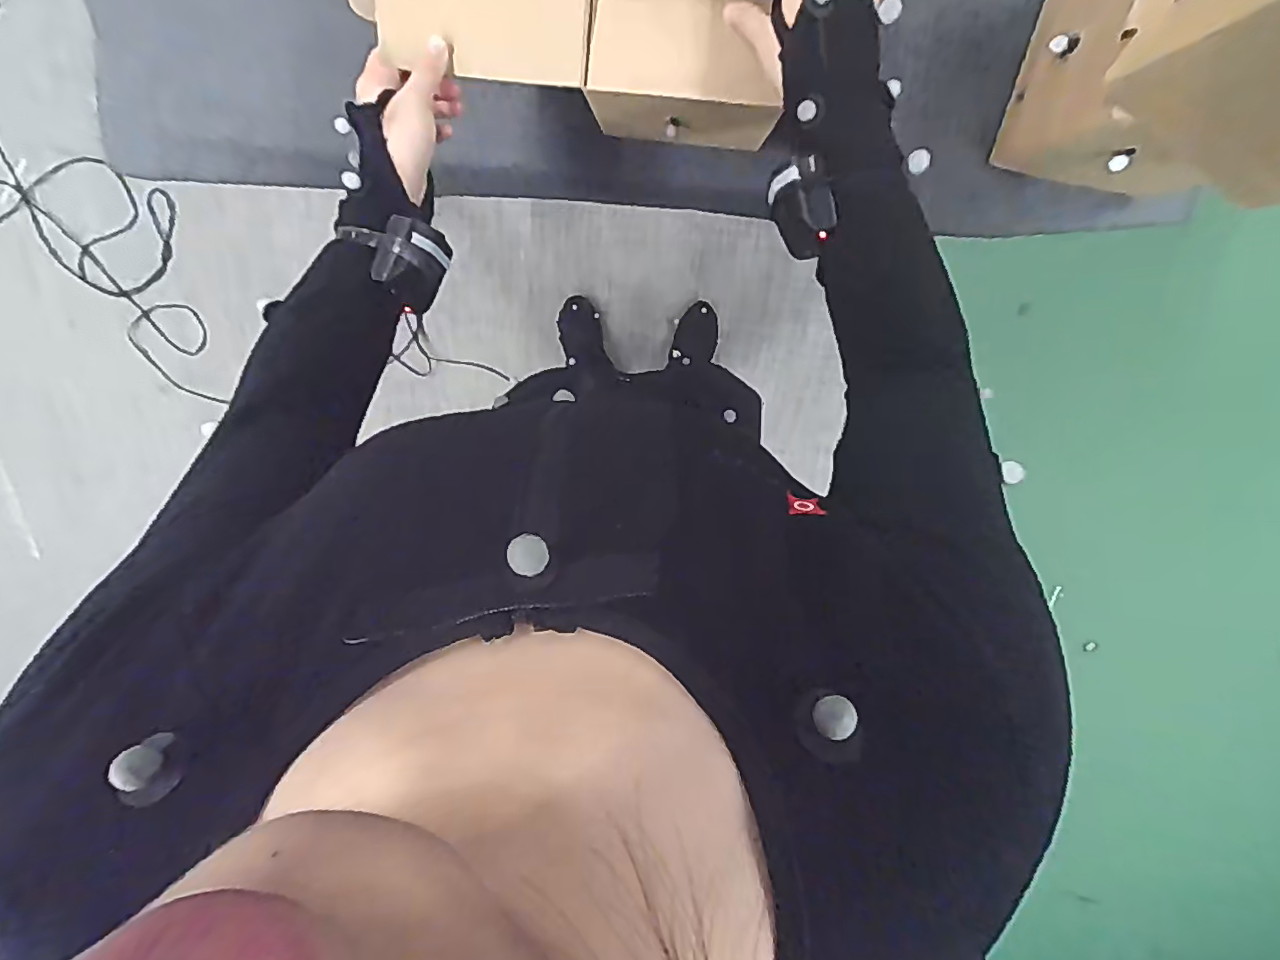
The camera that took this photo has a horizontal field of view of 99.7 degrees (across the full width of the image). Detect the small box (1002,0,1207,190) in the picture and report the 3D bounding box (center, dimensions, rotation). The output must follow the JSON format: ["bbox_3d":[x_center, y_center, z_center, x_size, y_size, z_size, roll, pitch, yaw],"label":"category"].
[{"bbox_3d":[0.479,-0.378,0.488,0.179,0.176,0.168,11,109,-1],"label":"small box"}]

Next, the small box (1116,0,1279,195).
[{"bbox_3d":[0.474,-0.309,0.339,0.179,0.176,0.168,31,107,-9],"label":"small box"}]
